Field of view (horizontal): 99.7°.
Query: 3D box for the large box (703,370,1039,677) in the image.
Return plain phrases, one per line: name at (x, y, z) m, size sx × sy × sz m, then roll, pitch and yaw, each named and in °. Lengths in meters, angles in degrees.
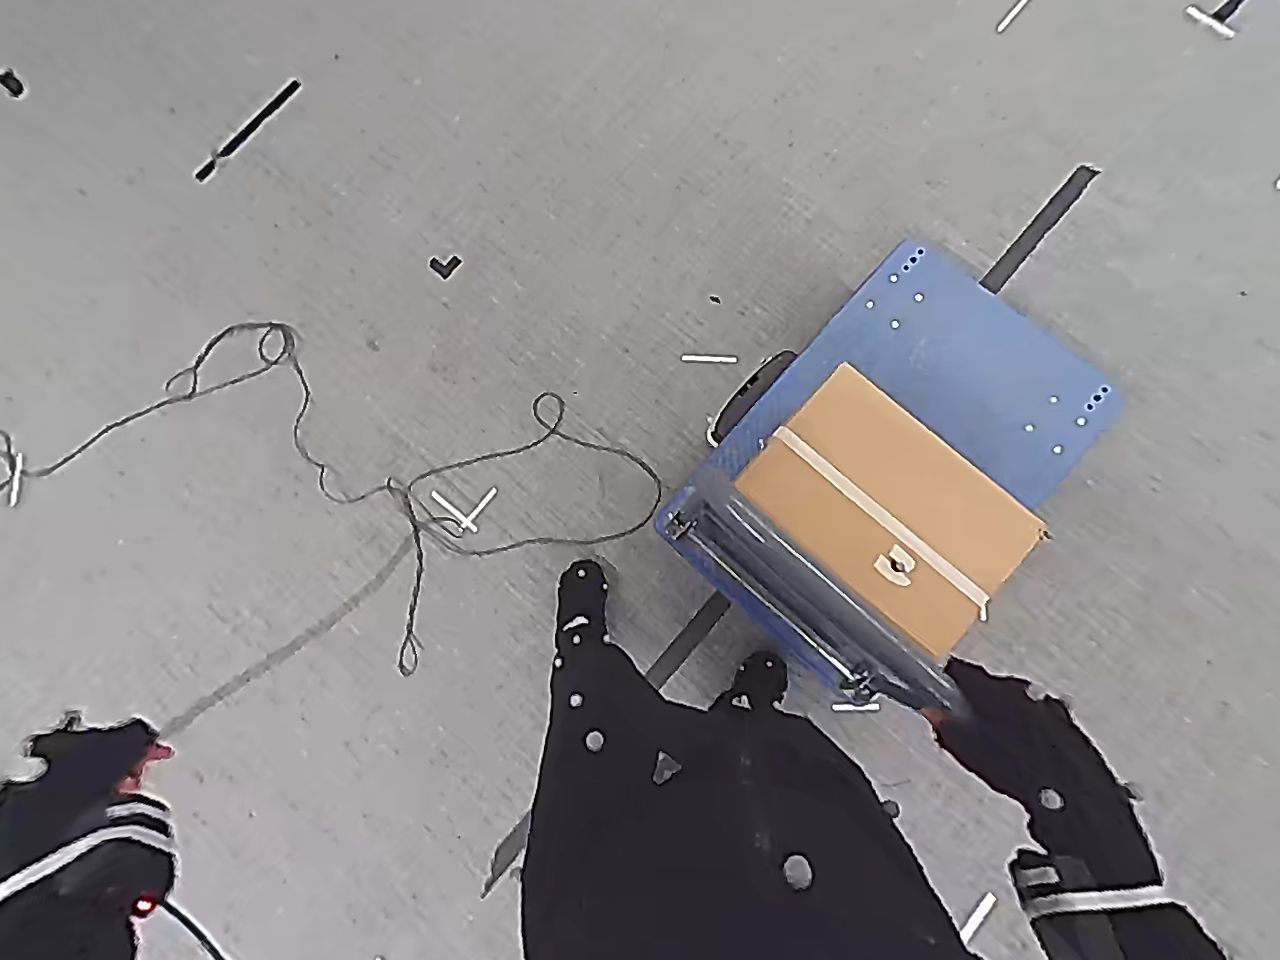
large box at (0.371, 0.075, 0.987) m, size 0.408 × 0.320 × 0.320 m, roll 41°, pitch 88°, yaw 6°
